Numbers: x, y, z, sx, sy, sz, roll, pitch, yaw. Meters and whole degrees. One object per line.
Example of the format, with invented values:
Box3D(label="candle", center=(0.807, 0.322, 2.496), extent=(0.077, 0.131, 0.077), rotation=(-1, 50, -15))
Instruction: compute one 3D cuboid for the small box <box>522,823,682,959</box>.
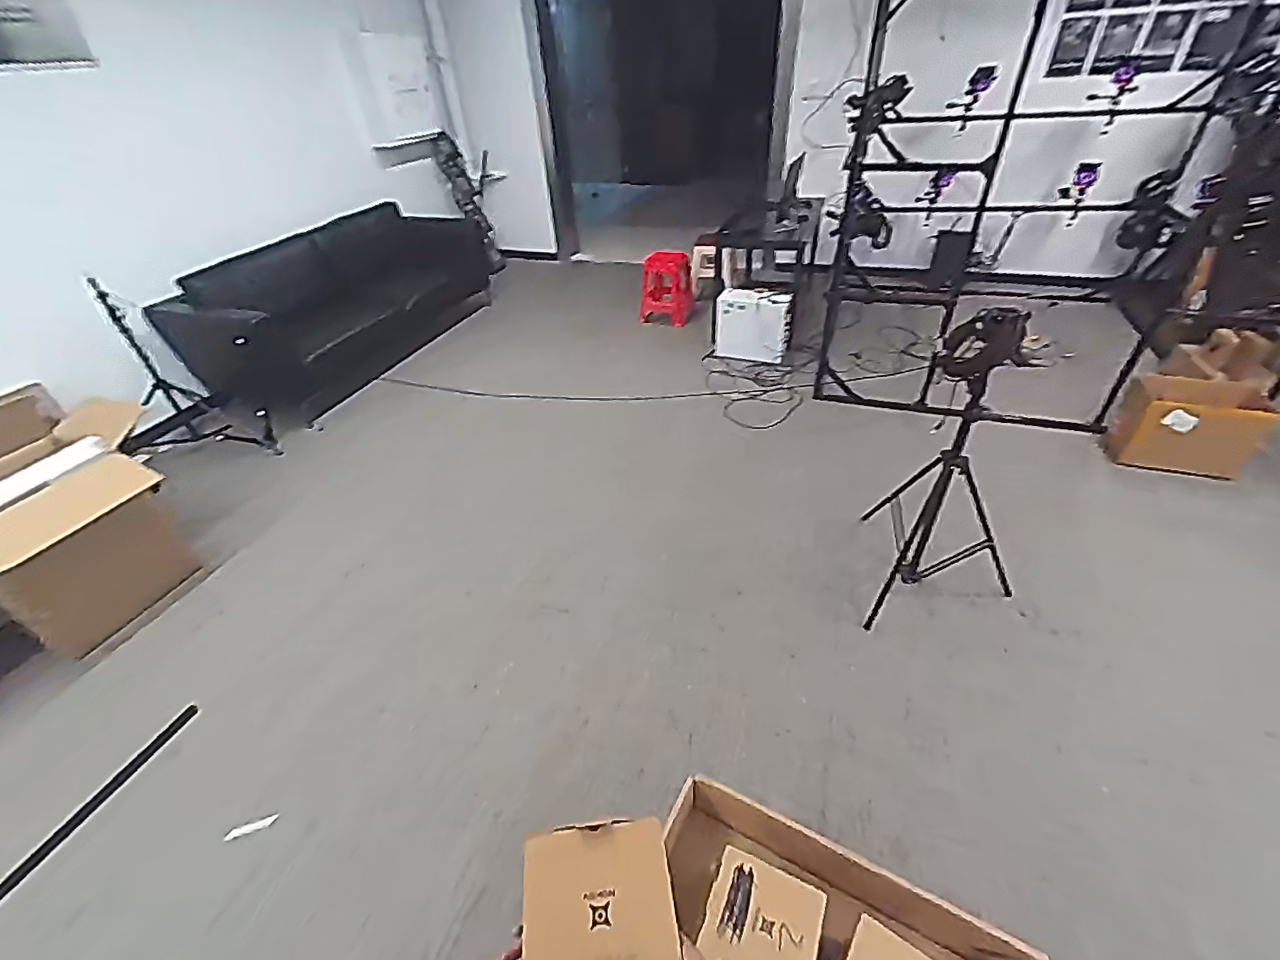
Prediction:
Box3D(label="small box", center=(-0.050, 0.536, 0.625), extent=(0.168, 0.176, 0.179), rotation=(-2, 35, -9))
